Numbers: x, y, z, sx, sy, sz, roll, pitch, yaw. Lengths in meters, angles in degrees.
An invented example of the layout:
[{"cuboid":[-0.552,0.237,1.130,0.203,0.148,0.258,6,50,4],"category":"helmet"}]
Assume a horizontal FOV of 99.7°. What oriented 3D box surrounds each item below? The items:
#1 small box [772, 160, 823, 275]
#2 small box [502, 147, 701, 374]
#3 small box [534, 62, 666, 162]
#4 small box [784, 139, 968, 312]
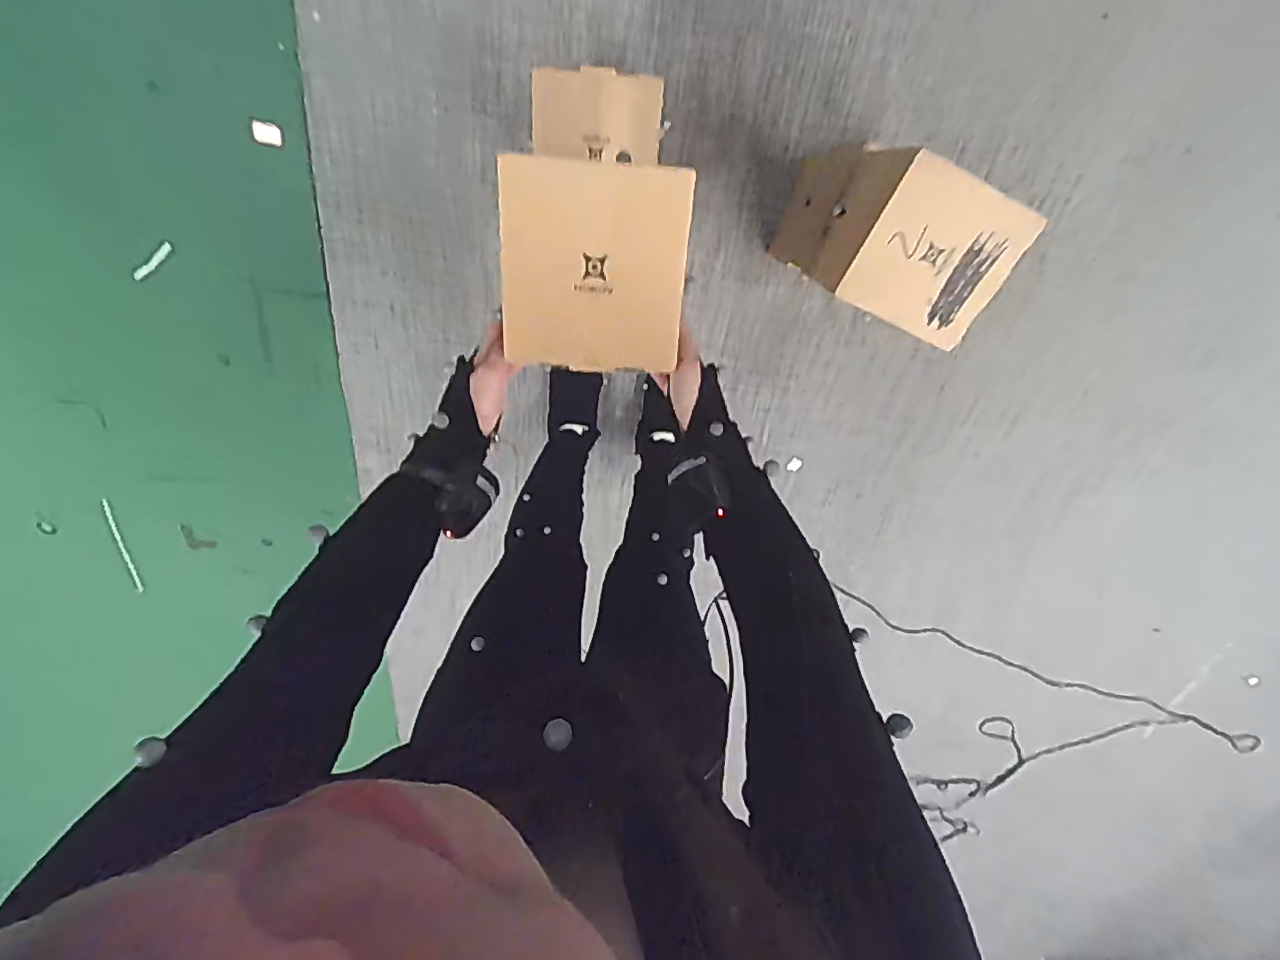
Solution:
[{"cuboid":[0.353,-0.453,0.966,0.168,0.176,0.179,16,119,-9],"category":"small box"},{"cuboid":[-0.042,-0.217,0.542,0.168,0.176,0.179,2,117,-5],"category":"small box"},{"cuboid":[-0.056,-0.467,0.770,0.168,0.176,0.179,4,120,-1],"category":"small box"},{"cuboid":[0.336,-0.385,0.818,0.168,0.176,0.179,19,119,-11],"category":"small box"}]
